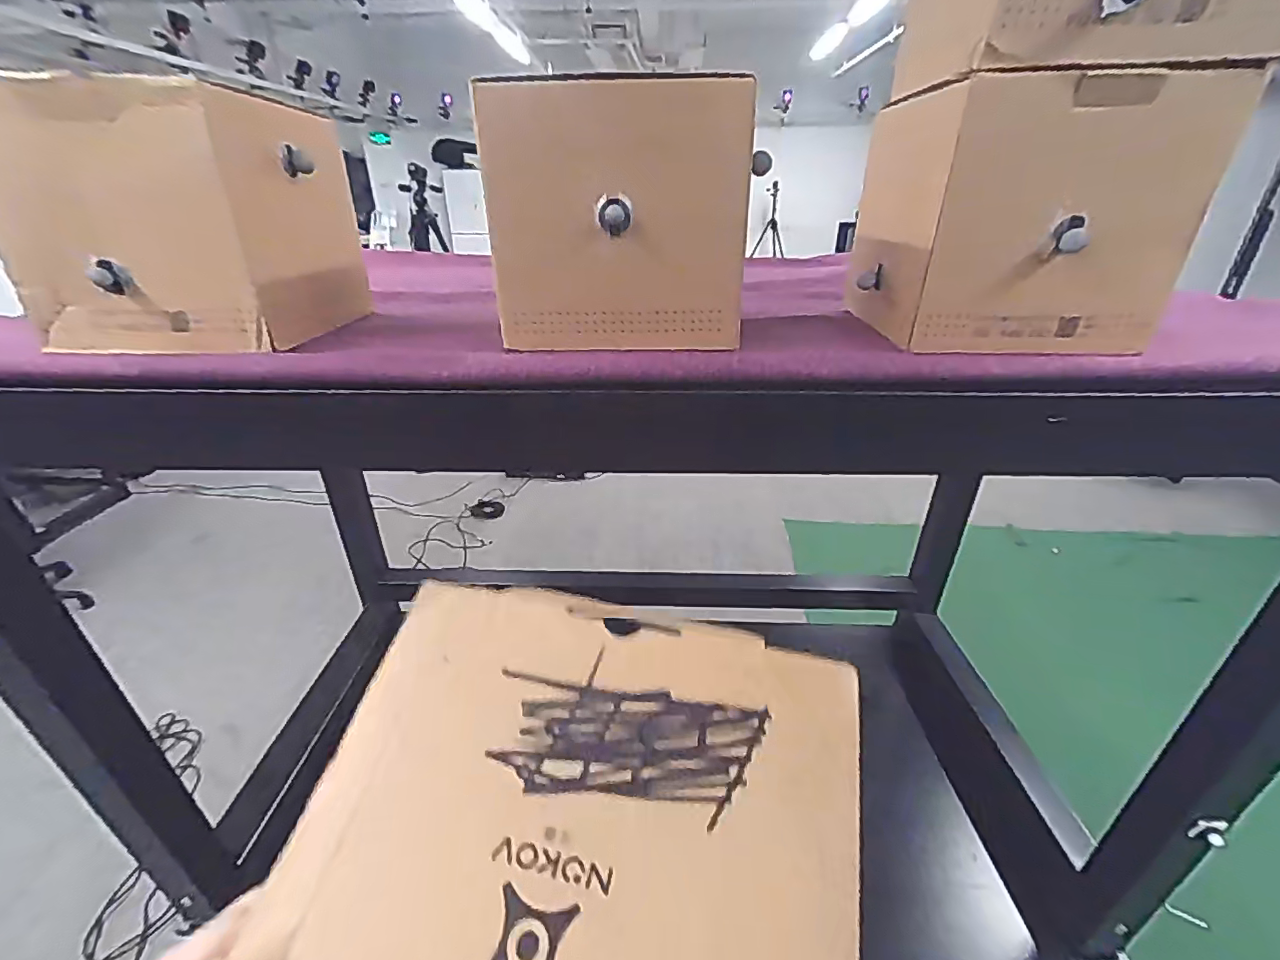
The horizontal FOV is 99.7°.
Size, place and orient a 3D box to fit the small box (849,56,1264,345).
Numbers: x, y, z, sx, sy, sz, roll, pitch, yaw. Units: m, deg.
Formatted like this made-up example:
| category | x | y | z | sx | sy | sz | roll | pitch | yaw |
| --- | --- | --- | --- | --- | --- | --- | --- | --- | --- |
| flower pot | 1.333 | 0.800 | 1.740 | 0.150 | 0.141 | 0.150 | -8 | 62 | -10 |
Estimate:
| category | x | y | z | sx | sy | sz | roll | pitch | yaw |
| --- | --- | --- | --- | --- | --- | --- | --- | --- | --- |
| small box | 0.279 | -0.207 | 0.420 | 0.168 | 0.176 | 0.179 | 1 | 29 | 3 |

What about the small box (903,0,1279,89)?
| category | x | y | z | sx | sy | sz | roll | pitch | yaw |
| --- | --- | --- | --- | --- | --- | --- | --- | --- | --- |
| small box | 0.287 | -0.350 | 0.341 | 0.168 | 0.176 | 0.179 | 1 | 29 | 6 |

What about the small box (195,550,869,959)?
| category | x | y | z | sx | sy | sz | roll | pitch | yaw |
| --- | --- | --- | --- | --- | --- | --- | --- | --- | --- |
| small box | -0.018 | 0.155 | 0.208 | 0.168 | 0.176 | 0.179 | 8 | 53 | 13 |

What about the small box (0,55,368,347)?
| category | x | y | z | sx | sy | sz | roll | pitch | yaw |
| --- | --- | --- | --- | --- | --- | --- | --- | --- | --- |
| small box | -0.338 | -0.210 | 0.427 | 0.168 | 0.176 | 0.179 | 0 | 27 | -2 |
